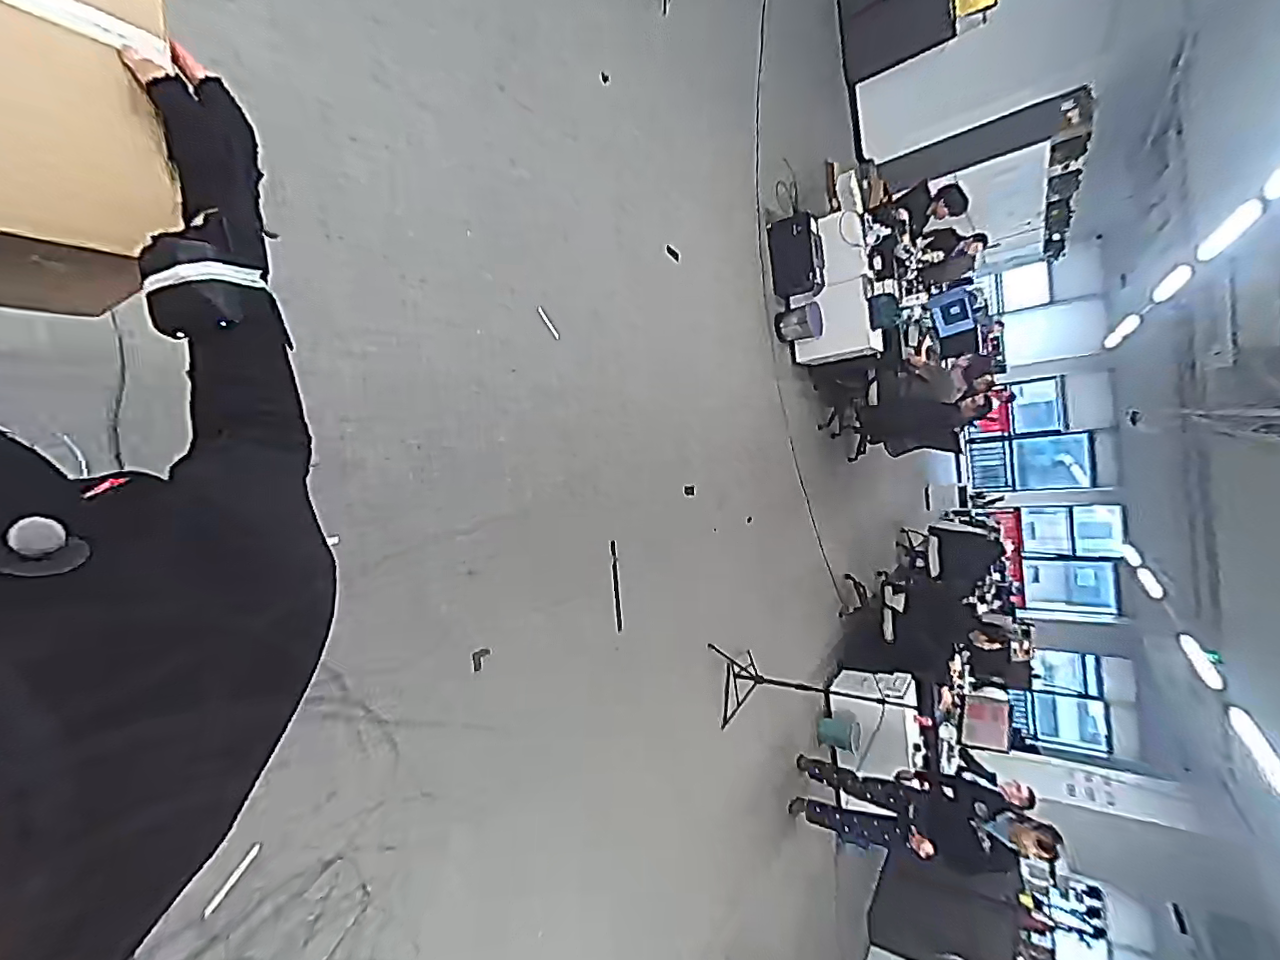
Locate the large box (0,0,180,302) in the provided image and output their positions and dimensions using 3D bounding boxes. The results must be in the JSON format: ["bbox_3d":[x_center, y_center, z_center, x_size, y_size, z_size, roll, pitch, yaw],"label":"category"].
[{"bbox_3d":[-0.615,-0.326,0.352,0.408,0.320,0.320,-8,100,-55],"label":"large box"}]
